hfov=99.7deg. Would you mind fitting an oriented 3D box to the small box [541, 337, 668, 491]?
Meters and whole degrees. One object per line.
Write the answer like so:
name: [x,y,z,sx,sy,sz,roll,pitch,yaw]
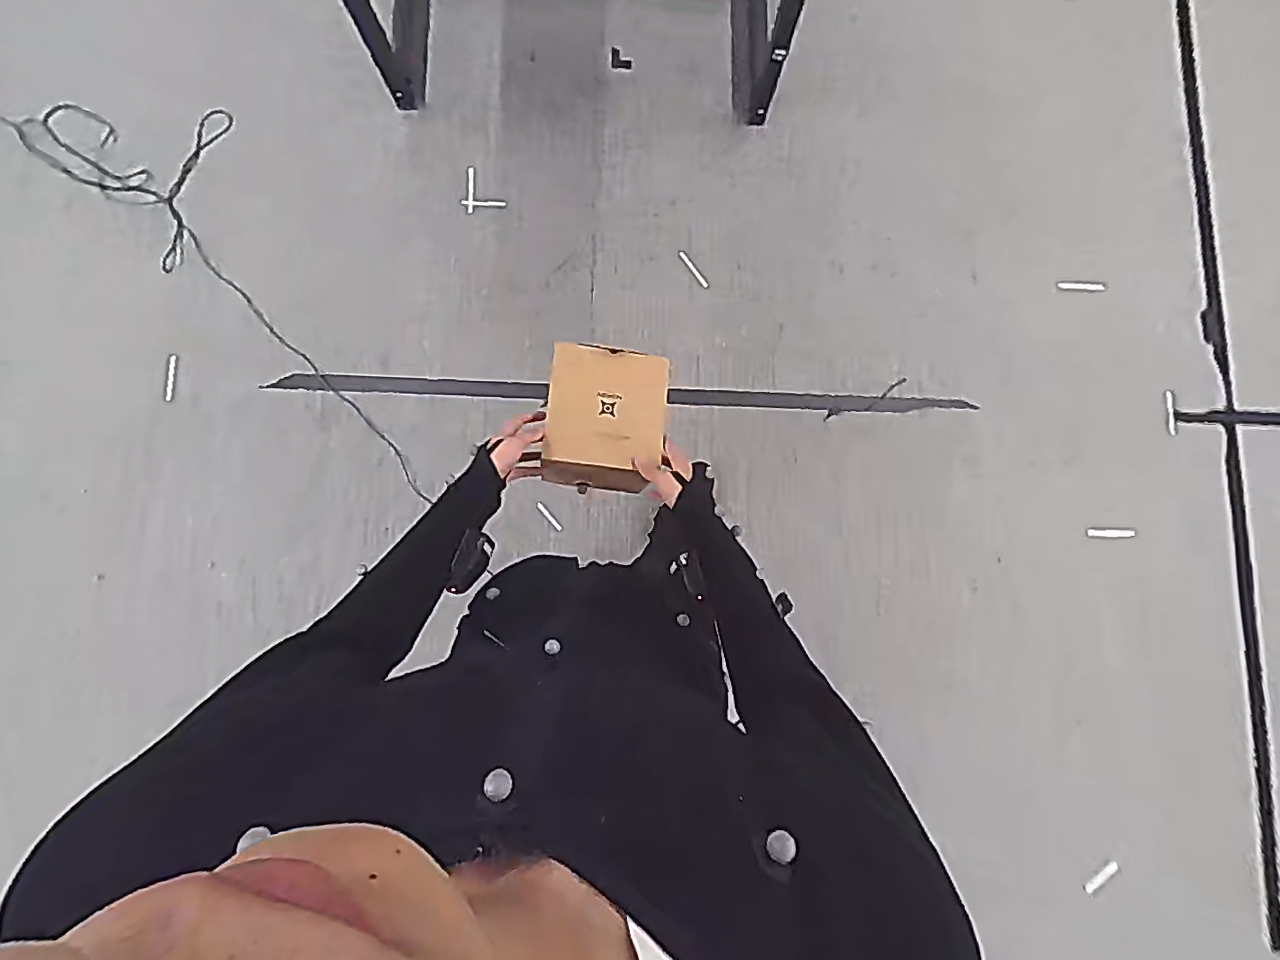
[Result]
small box: [-0.060,-0.091,0.823,0.168,0.176,0.179,6,77,-8]
